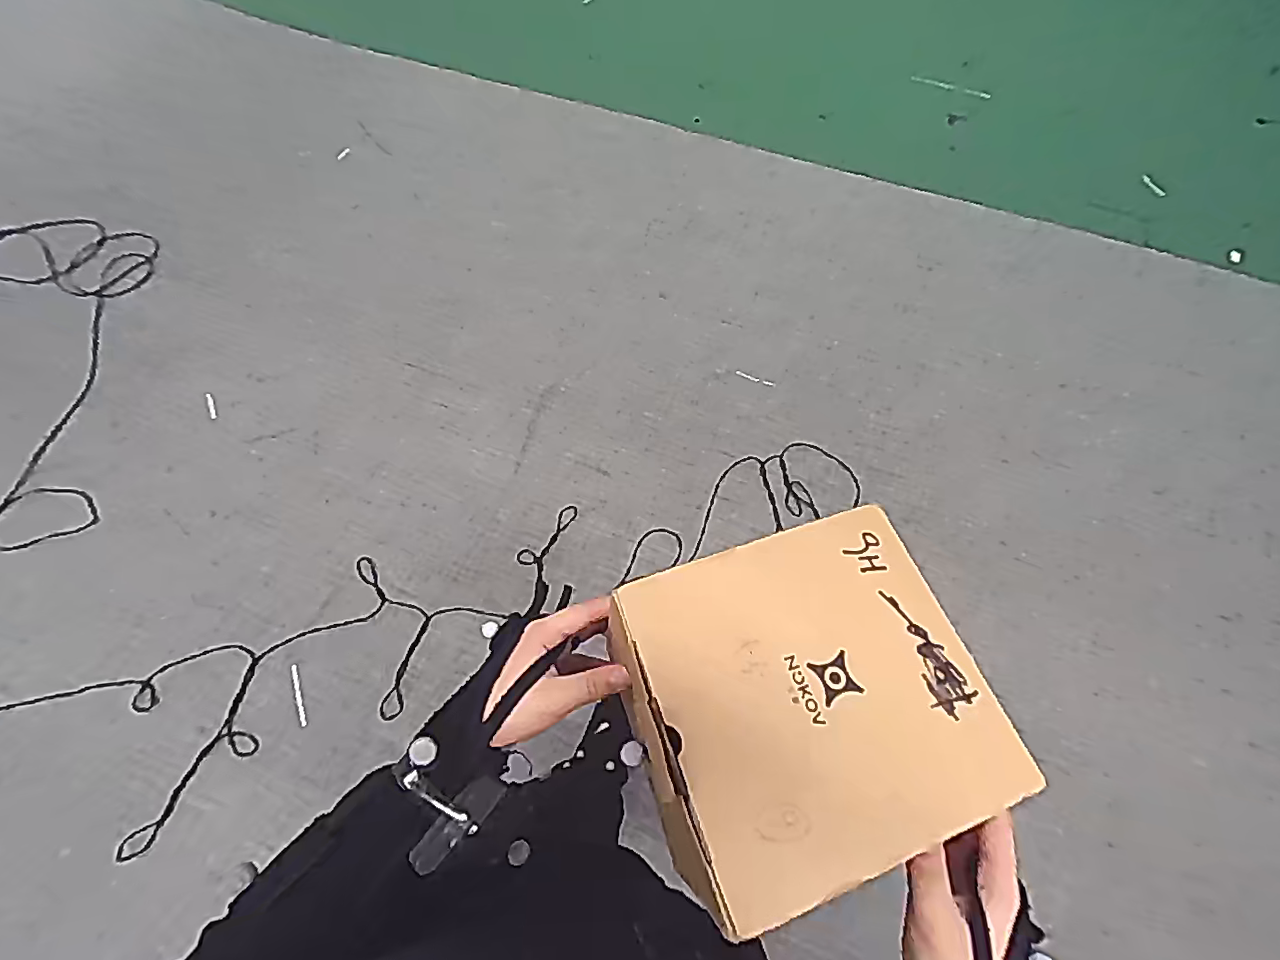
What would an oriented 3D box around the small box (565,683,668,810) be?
[{"bbox_3d":[-0.048,0.554,1.132,0.168,0.176,0.179,-24,58,-14],"label":"small box"}]
